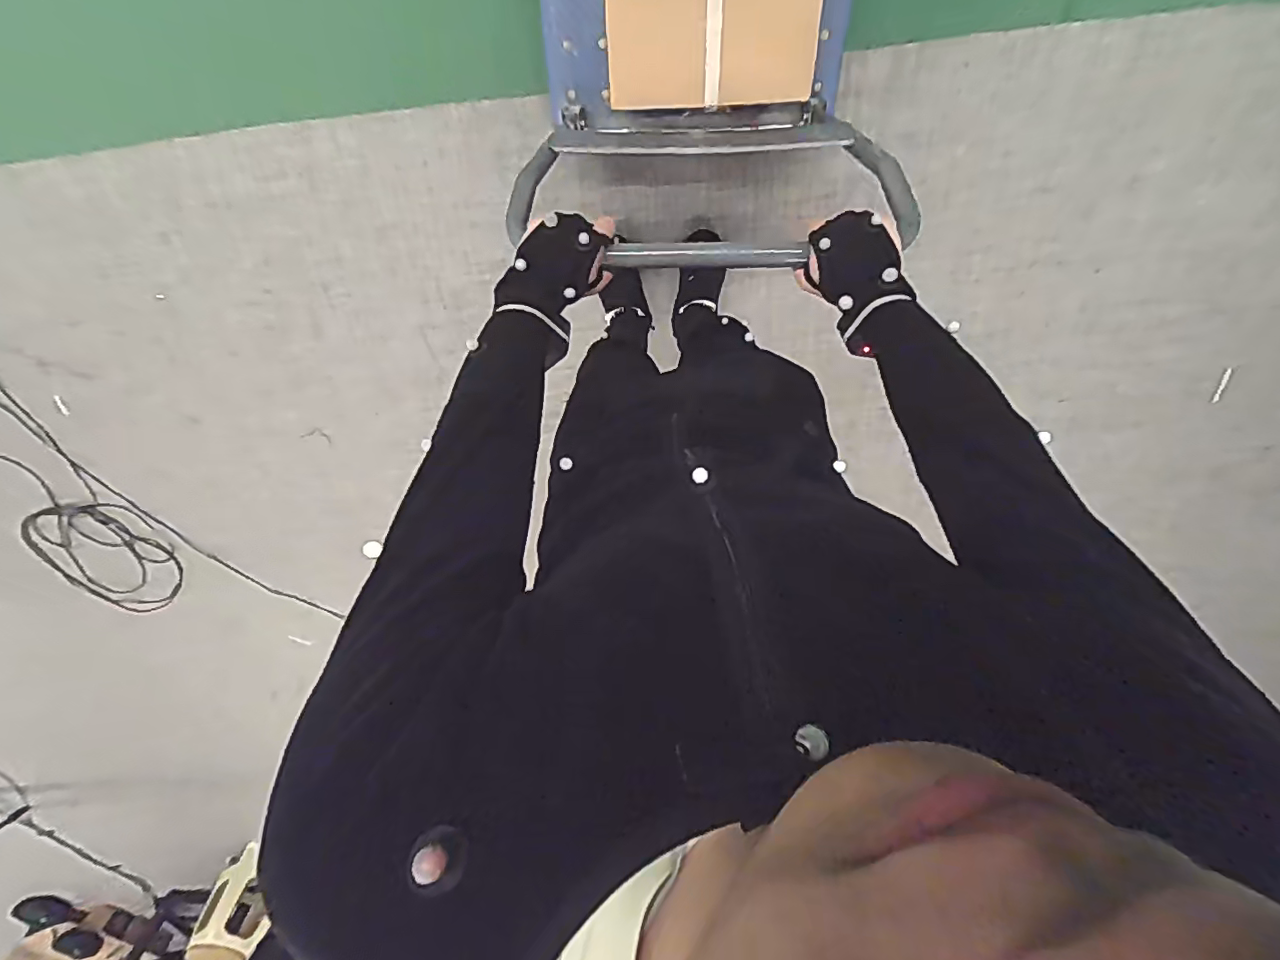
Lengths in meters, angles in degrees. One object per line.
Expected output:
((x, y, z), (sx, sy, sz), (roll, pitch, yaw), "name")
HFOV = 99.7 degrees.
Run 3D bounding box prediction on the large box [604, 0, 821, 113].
((0.110, -0.835, 0.852), (0.320, 0.320, 0.408), (0, 127, 3), "large box")
